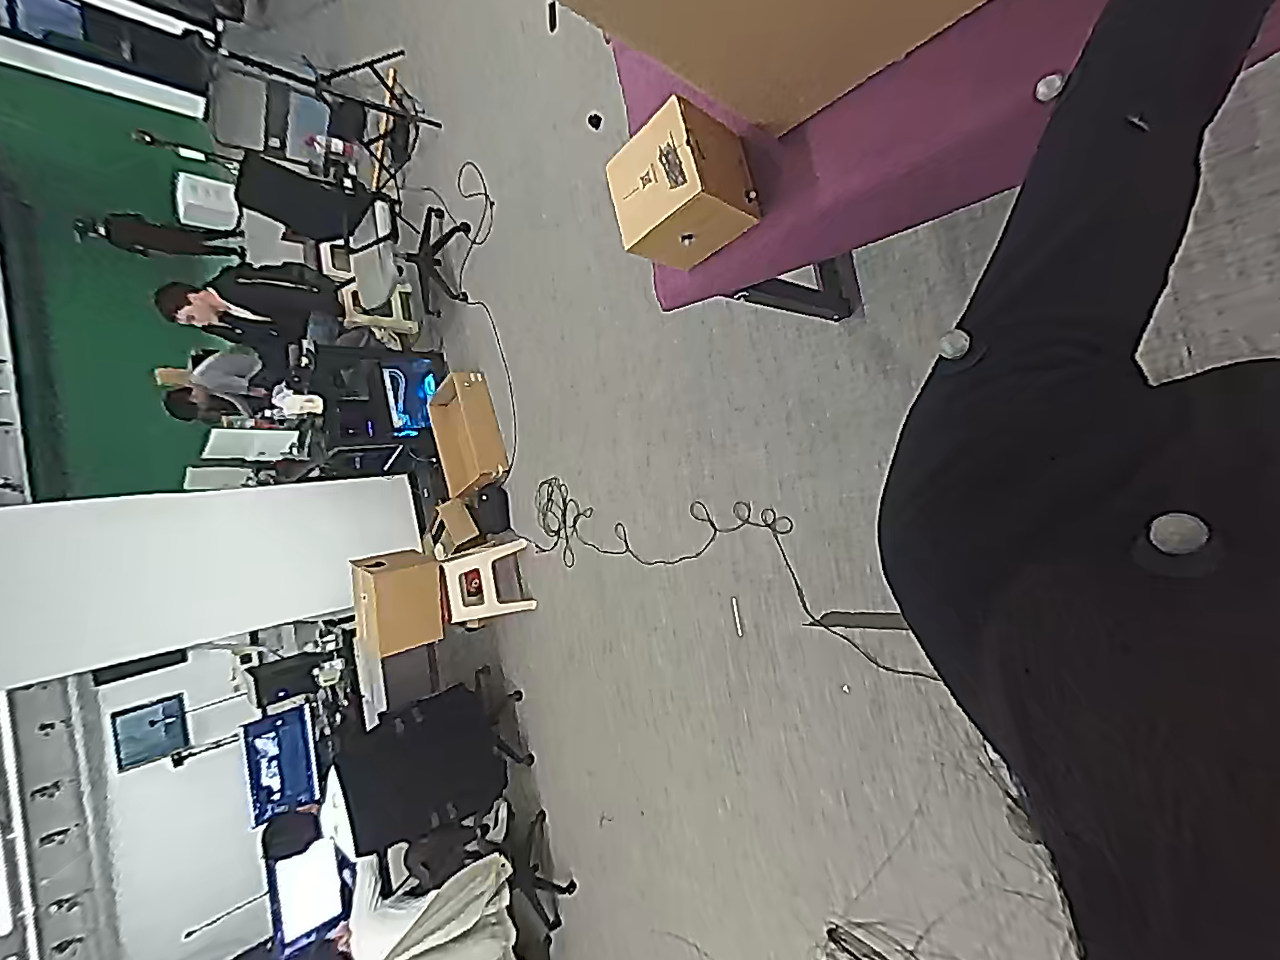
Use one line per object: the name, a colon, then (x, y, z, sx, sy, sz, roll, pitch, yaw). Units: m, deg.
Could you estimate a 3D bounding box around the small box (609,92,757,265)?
small box: (0.078, -0.492, 0.915, 0.179, 0.176, 0.168, -20, 80, 45)
